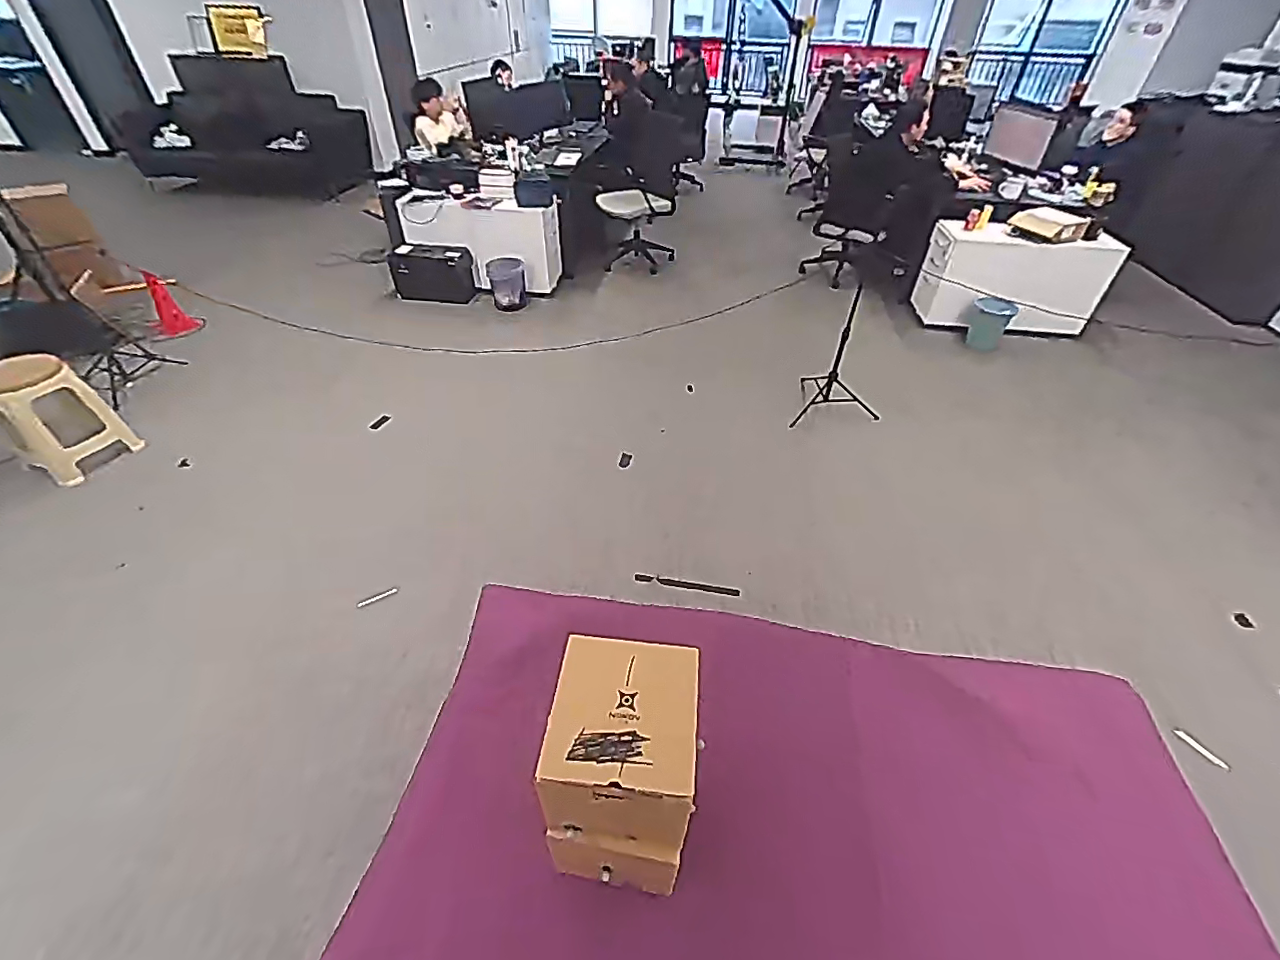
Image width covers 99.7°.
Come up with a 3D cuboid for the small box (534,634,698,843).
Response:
[{"bbox_3d":[-0.021,0.319,0.668,0.168,0.176,0.179,6,41,4],"label":"small box"}]

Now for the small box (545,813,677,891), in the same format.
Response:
[{"bbox_3d":[-0.023,0.450,0.768,0.168,0.176,0.179,9,42,7],"label":"small box"}]
